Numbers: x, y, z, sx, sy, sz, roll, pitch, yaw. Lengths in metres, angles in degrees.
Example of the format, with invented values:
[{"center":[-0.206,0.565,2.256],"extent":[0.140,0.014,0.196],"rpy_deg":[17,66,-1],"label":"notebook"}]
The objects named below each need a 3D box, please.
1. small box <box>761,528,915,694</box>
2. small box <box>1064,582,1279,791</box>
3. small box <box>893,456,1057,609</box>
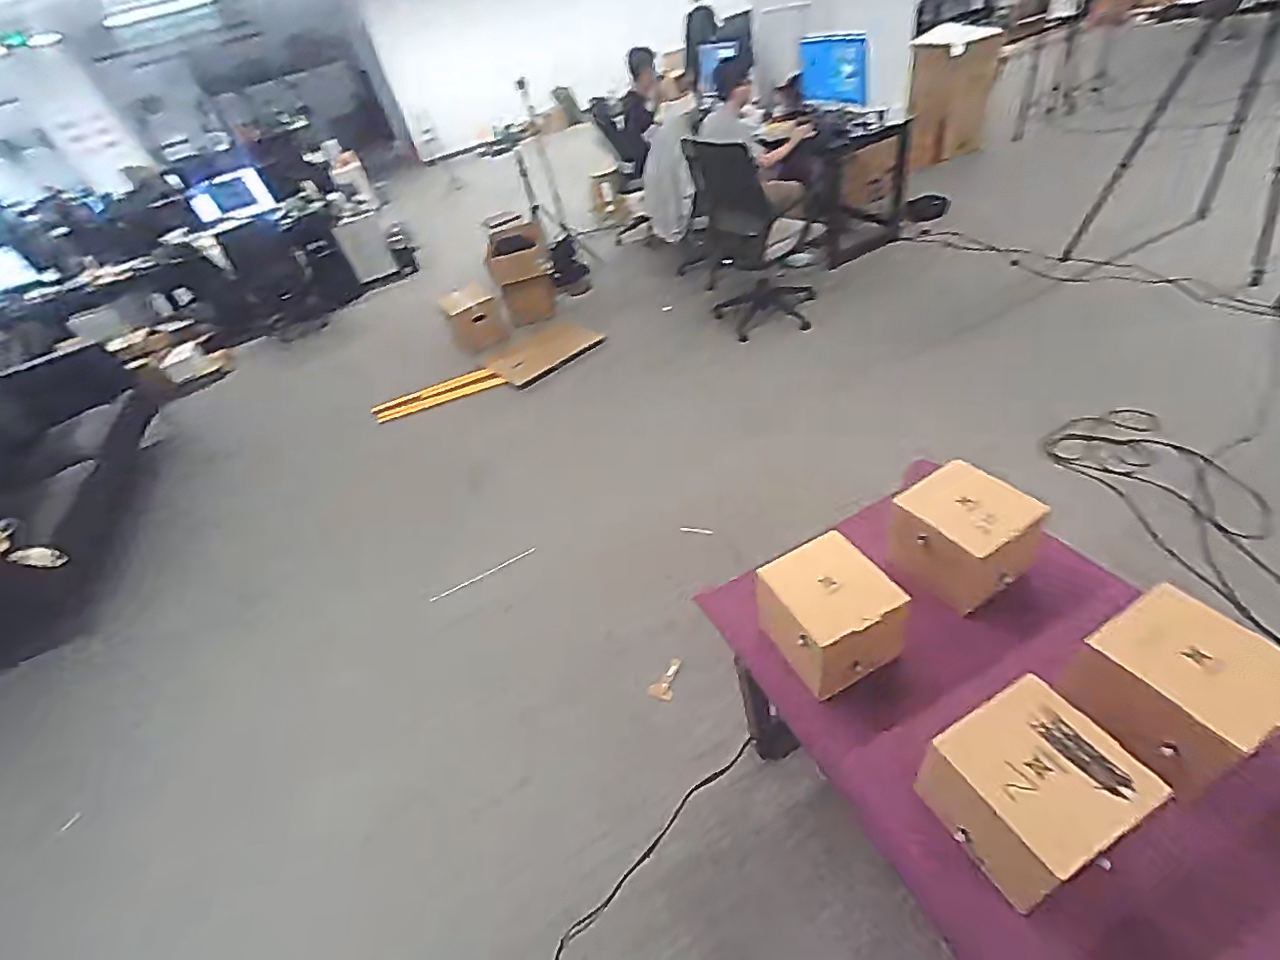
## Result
[{"center":[0.321,0.219,0.908],"extent":[0.168,0.176,0.179],"rpy_deg":[-24,43,-11],"label":"small box"},{"center":[0.720,0.277,0.715],"extent":[0.168,0.176,0.179],"rpy_deg":[-27,41,-12],"label":"small box"},{"center":[0.578,0.093,0.960],"extent":[0.168,0.176,0.179],"rpy_deg":[-29,43,-12],"label":"small box"}]
